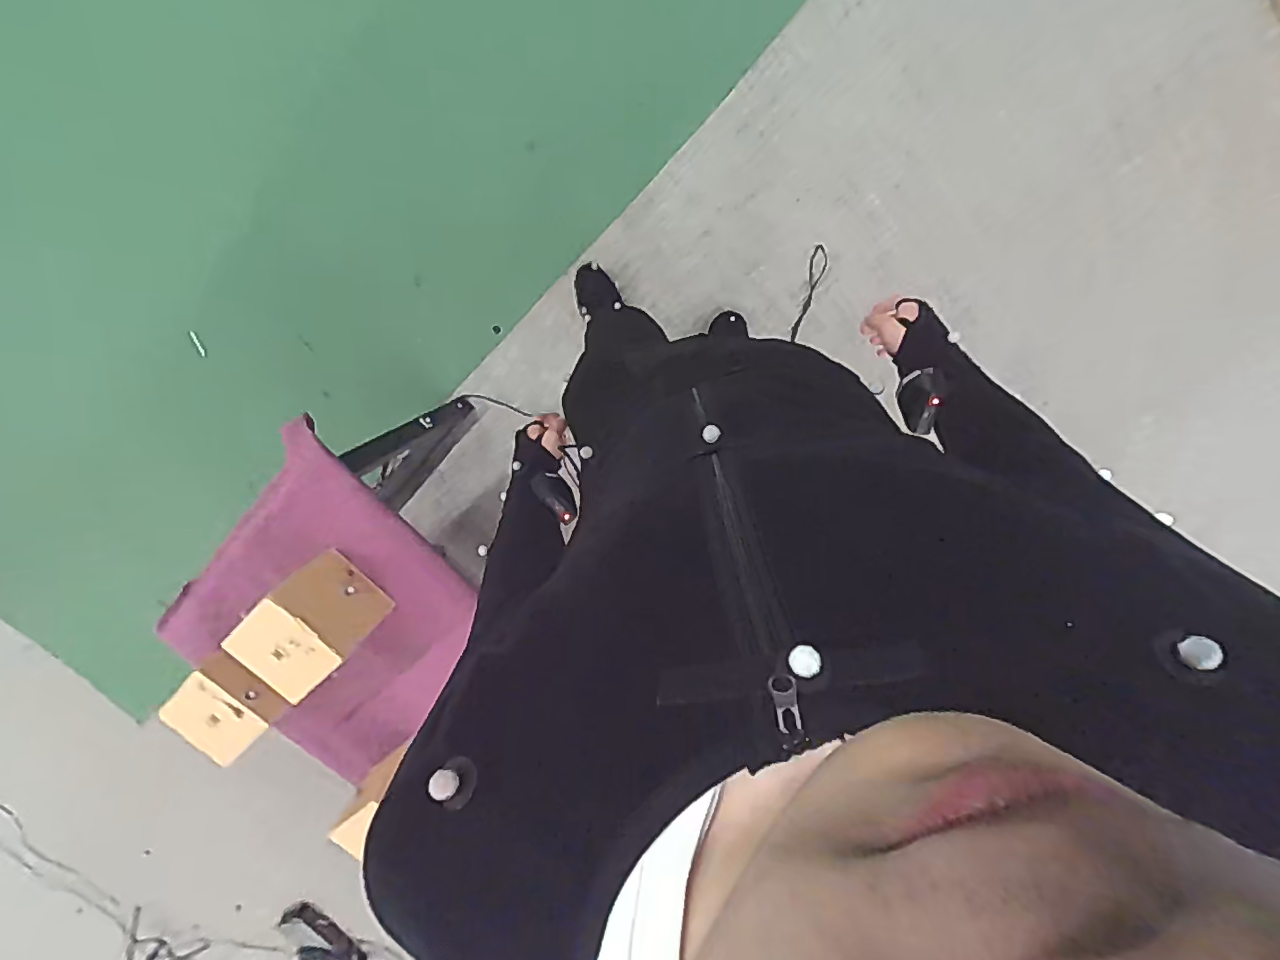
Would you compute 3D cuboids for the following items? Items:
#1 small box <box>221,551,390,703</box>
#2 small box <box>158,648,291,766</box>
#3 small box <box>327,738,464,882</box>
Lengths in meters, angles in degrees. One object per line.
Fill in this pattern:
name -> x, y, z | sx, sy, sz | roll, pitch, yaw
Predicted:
small box -> -0.608, 0.266, 1.005 | 0.179, 0.176, 0.168 | -39, 102, 20
small box -> -0.798, 0.424, 1.093 | 0.179, 0.176, 0.168 | -42, 100, 19
small box -> -0.511, 0.700, 1.157 | 0.179, 0.176, 0.168 | -40, 101, 19
